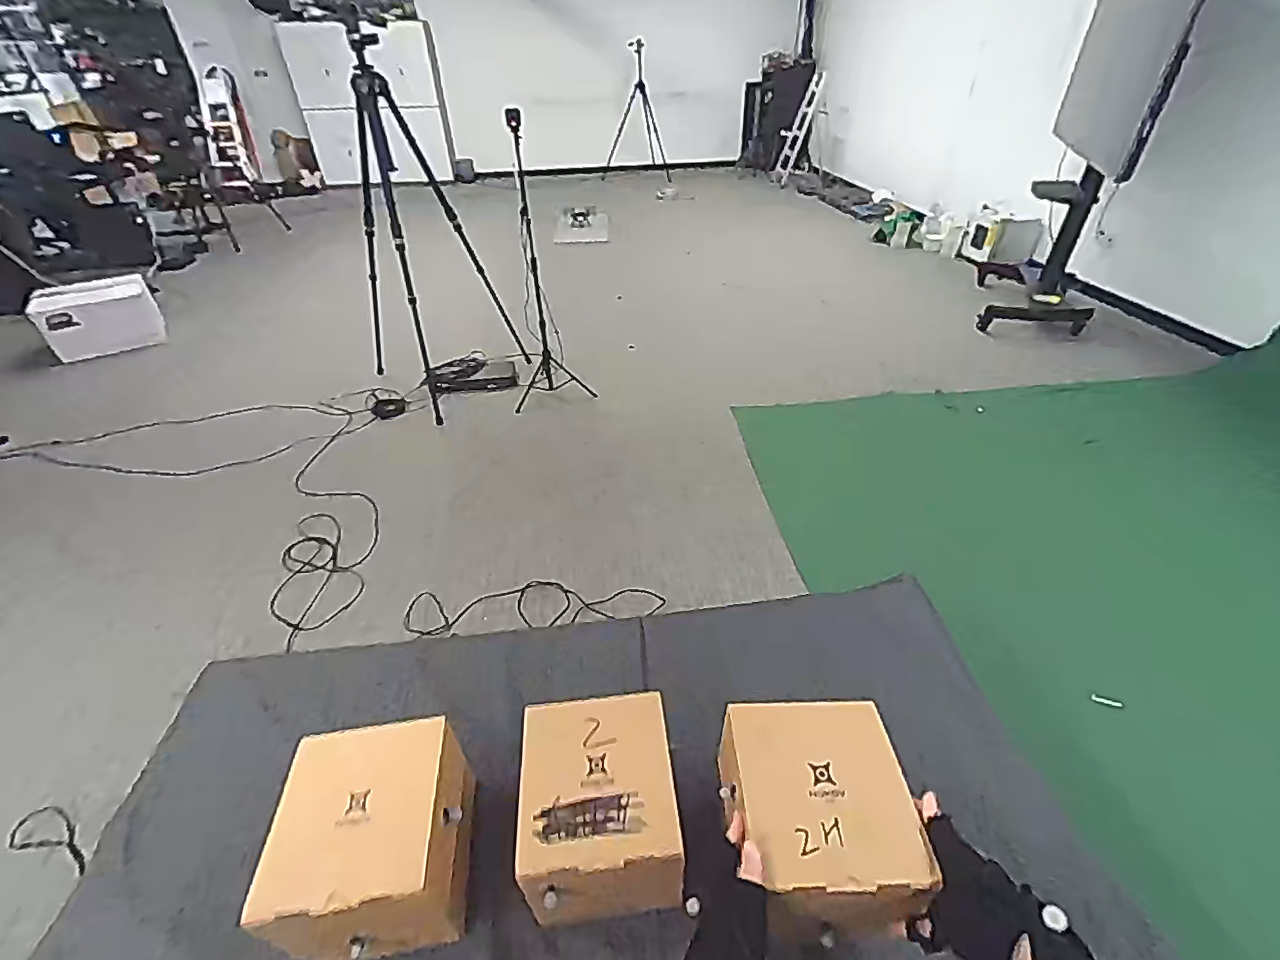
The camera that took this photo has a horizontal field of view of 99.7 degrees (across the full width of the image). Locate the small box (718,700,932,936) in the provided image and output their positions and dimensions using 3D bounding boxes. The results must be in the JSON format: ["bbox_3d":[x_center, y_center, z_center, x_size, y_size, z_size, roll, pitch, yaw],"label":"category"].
[{"bbox_3d":[0.182,0.370,0.600,0.168,0.176,0.179,-2,37,0],"label":"small box"}]

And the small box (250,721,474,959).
[{"bbox_3d":[-0.295,0.412,0.625,0.168,0.176,0.179,-6,39,-6],"label":"small box"}]
